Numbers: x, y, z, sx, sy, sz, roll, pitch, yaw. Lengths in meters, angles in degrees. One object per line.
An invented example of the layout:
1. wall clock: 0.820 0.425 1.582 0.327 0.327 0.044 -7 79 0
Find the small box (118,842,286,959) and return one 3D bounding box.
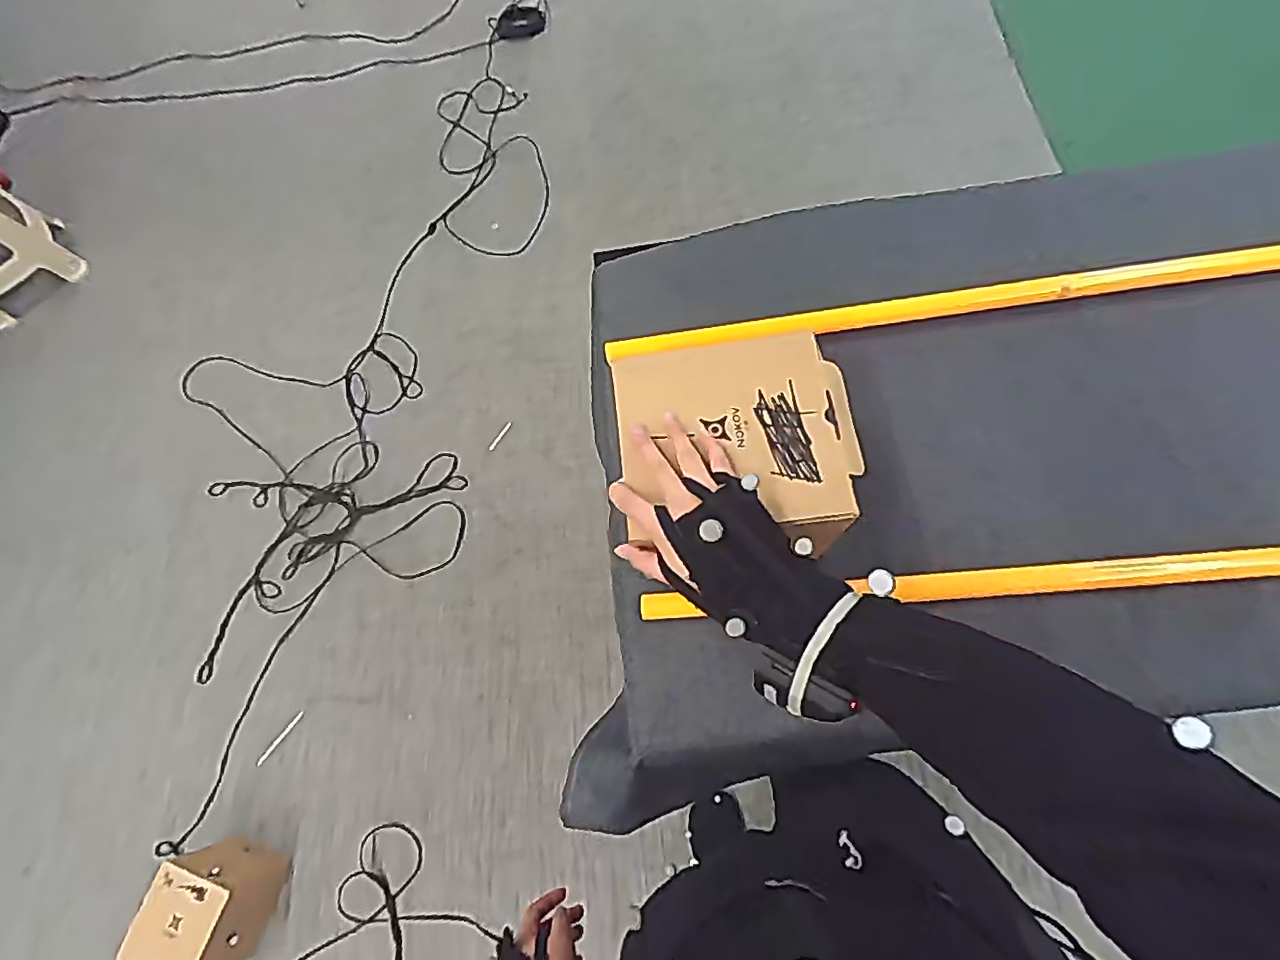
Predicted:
1. small box: -0.864 0.871 1.086 0.168 0.176 0.179 14 72 12

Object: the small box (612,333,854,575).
1. small box: 0.076 -0.012 0.509 0.179 0.176 0.168 -7 69 4
